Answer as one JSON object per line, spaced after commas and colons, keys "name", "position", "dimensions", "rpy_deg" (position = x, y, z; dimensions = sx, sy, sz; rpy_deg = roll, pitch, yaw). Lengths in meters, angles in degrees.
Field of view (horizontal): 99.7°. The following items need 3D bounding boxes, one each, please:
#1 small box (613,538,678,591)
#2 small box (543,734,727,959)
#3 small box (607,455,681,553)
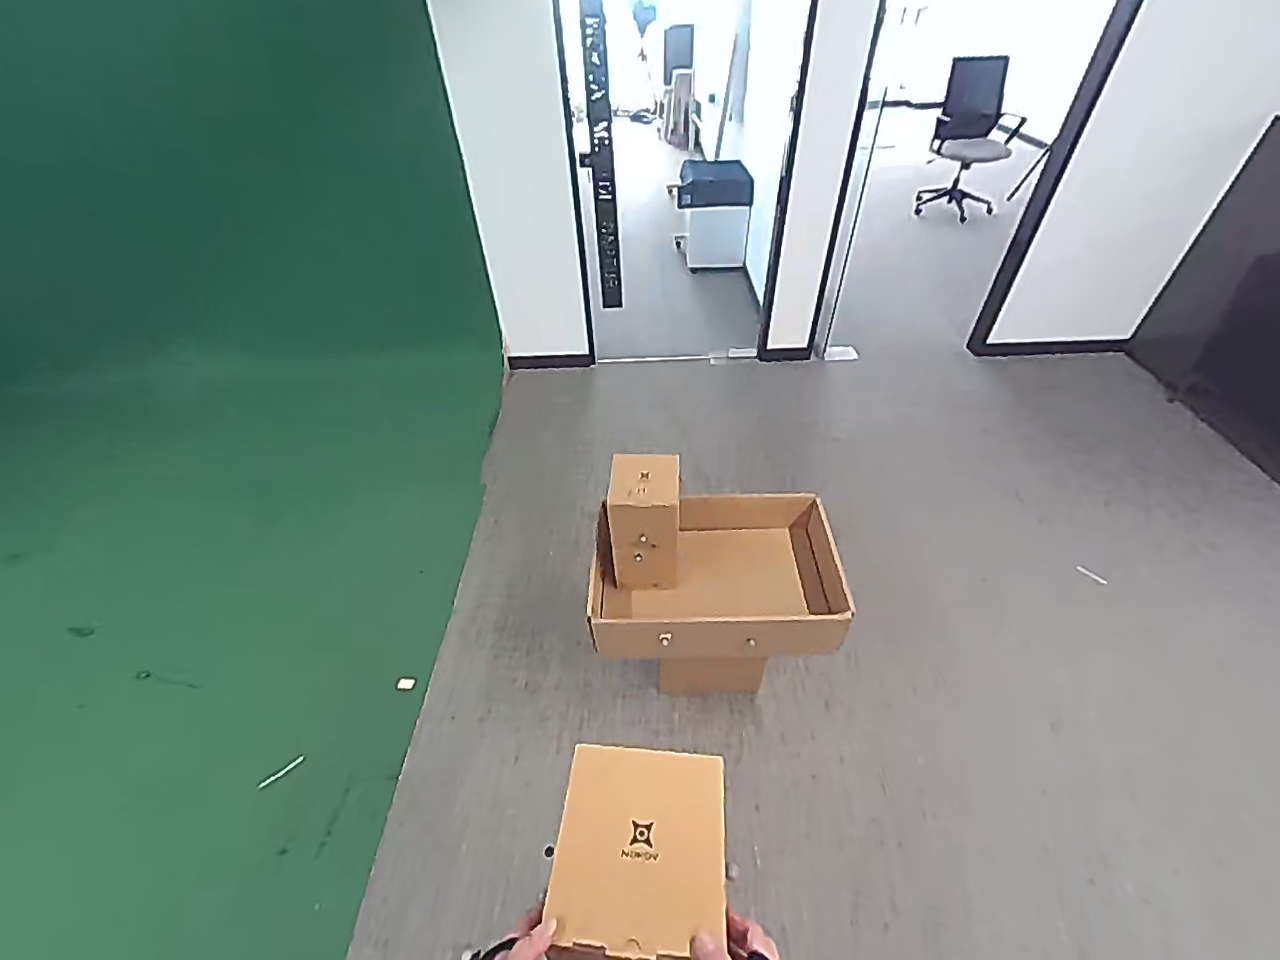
{"name": "small box", "position": [0.017, 0.177, 1.452], "dimensions": [0.168, 0.176, 0.179], "rpy_deg": [0, 43, 2]}
{"name": "small box", "position": [0.002, 0.407, 0.584], "dimensions": [0.168, 0.176, 0.179], "rpy_deg": [3, 40, 5]}
{"name": "small box", "position": [0.014, 0.057, 1.340], "dimensions": [0.168, 0.176, 0.179], "rpy_deg": [1, 44, 5]}
